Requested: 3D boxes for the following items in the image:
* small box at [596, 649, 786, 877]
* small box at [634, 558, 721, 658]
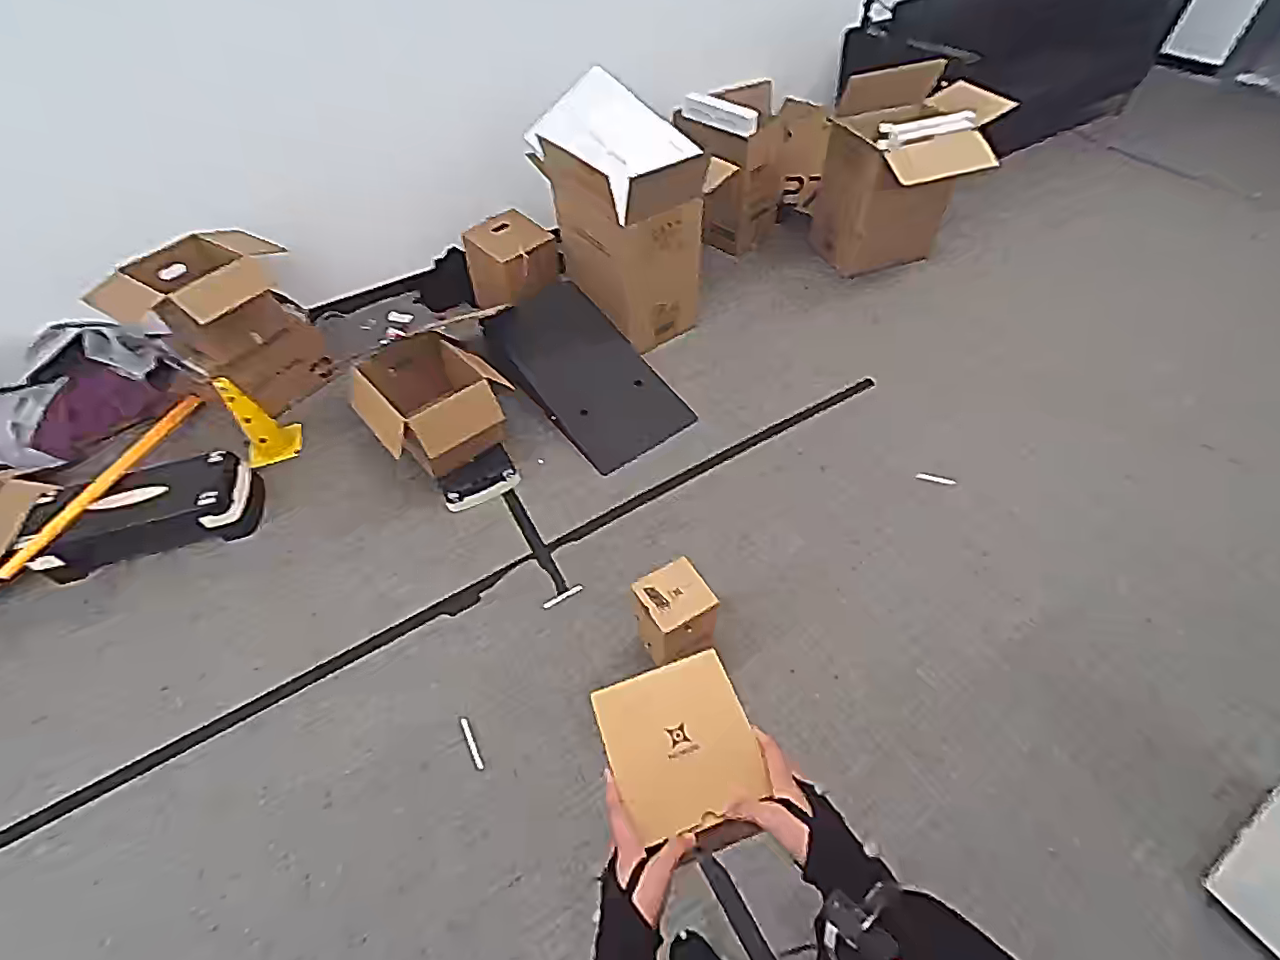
[{"bbox_3d":[0.053,0.344,0.659,0.168,0.176,0.179,-17,48,-11],"label":"small box"},{"bbox_3d":[0.100,0.351,1.465,0.179,0.176,0.168,-26,54,-18],"label":"small box"}]
